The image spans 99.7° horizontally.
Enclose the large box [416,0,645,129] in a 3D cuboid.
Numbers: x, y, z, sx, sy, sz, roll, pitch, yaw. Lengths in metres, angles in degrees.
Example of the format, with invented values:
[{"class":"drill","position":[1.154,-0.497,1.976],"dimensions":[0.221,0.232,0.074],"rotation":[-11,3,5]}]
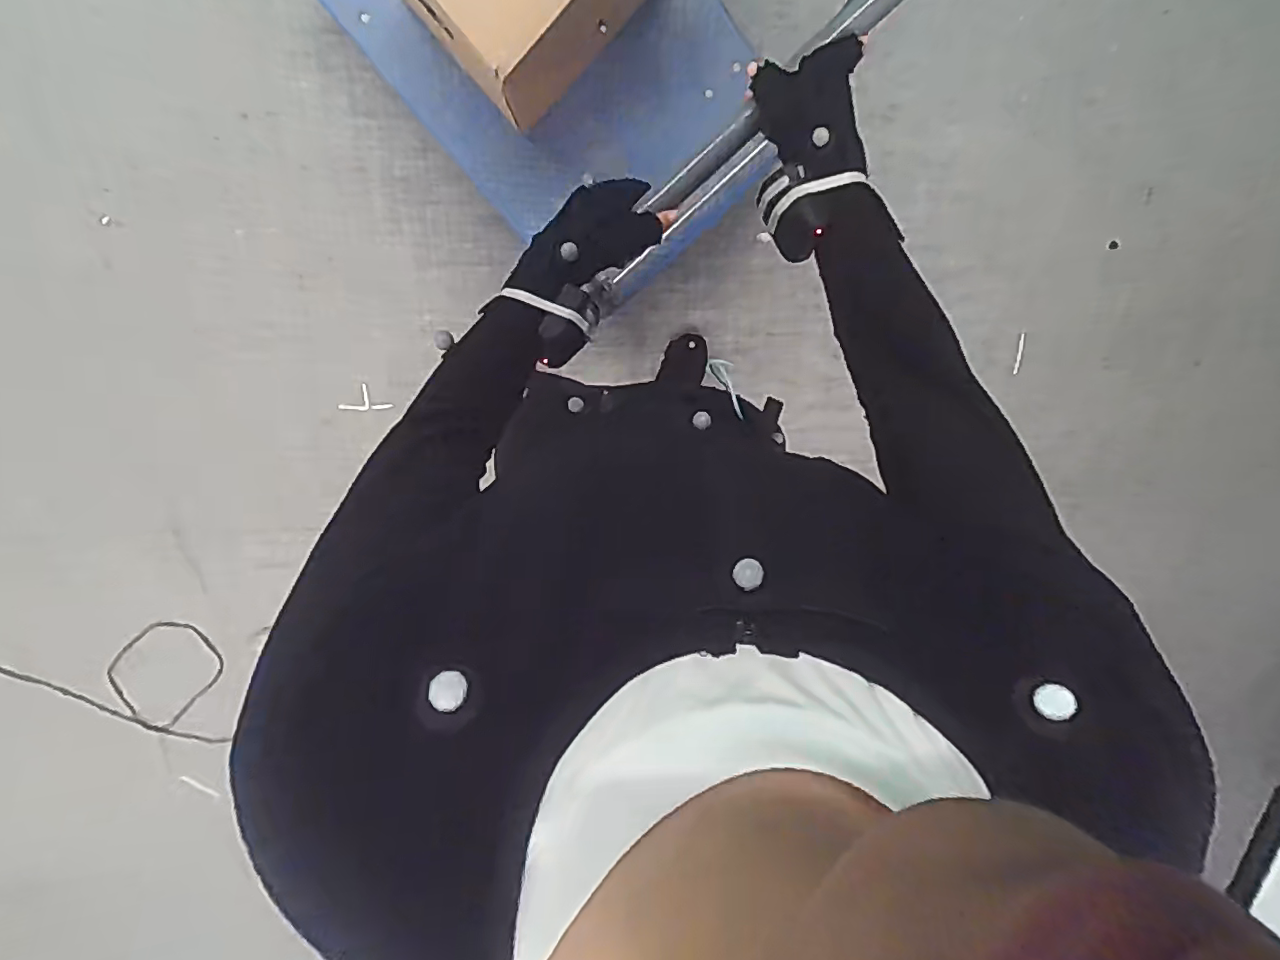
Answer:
[{"class":"large box","position":[-0.163,-0.875,0.858],"dimensions":[0.408,0.320,0.320],"rotation":[-43,107,11]}]
